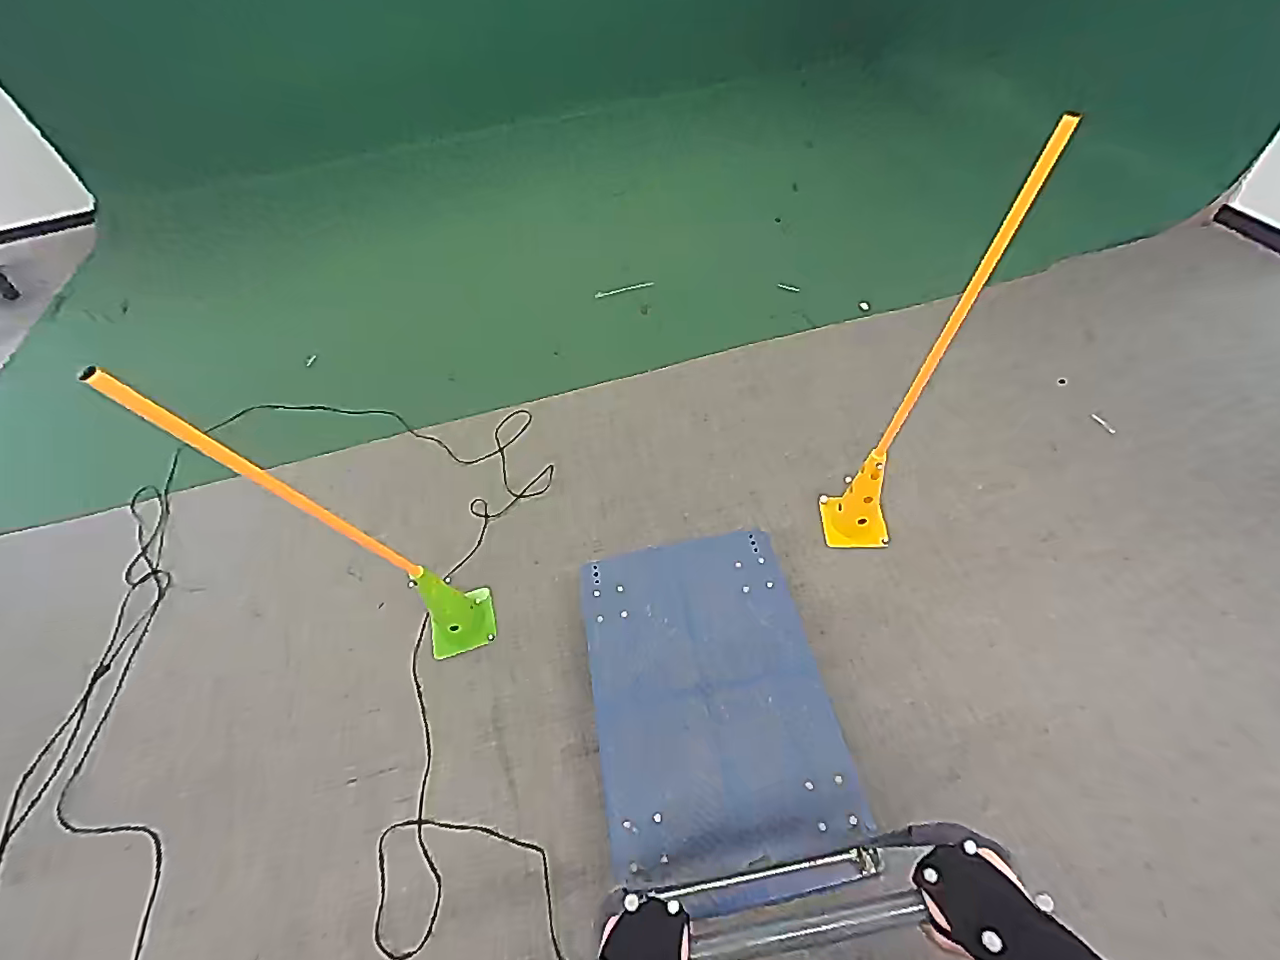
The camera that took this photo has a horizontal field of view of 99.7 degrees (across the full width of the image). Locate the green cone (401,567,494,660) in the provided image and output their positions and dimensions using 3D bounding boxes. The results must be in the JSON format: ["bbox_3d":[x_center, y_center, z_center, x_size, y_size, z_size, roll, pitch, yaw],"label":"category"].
[{"bbox_3d":[-0.598,0.354,1.598,0.202,0.368,0.200,-19,52,-5],"label":"green cone"}]
